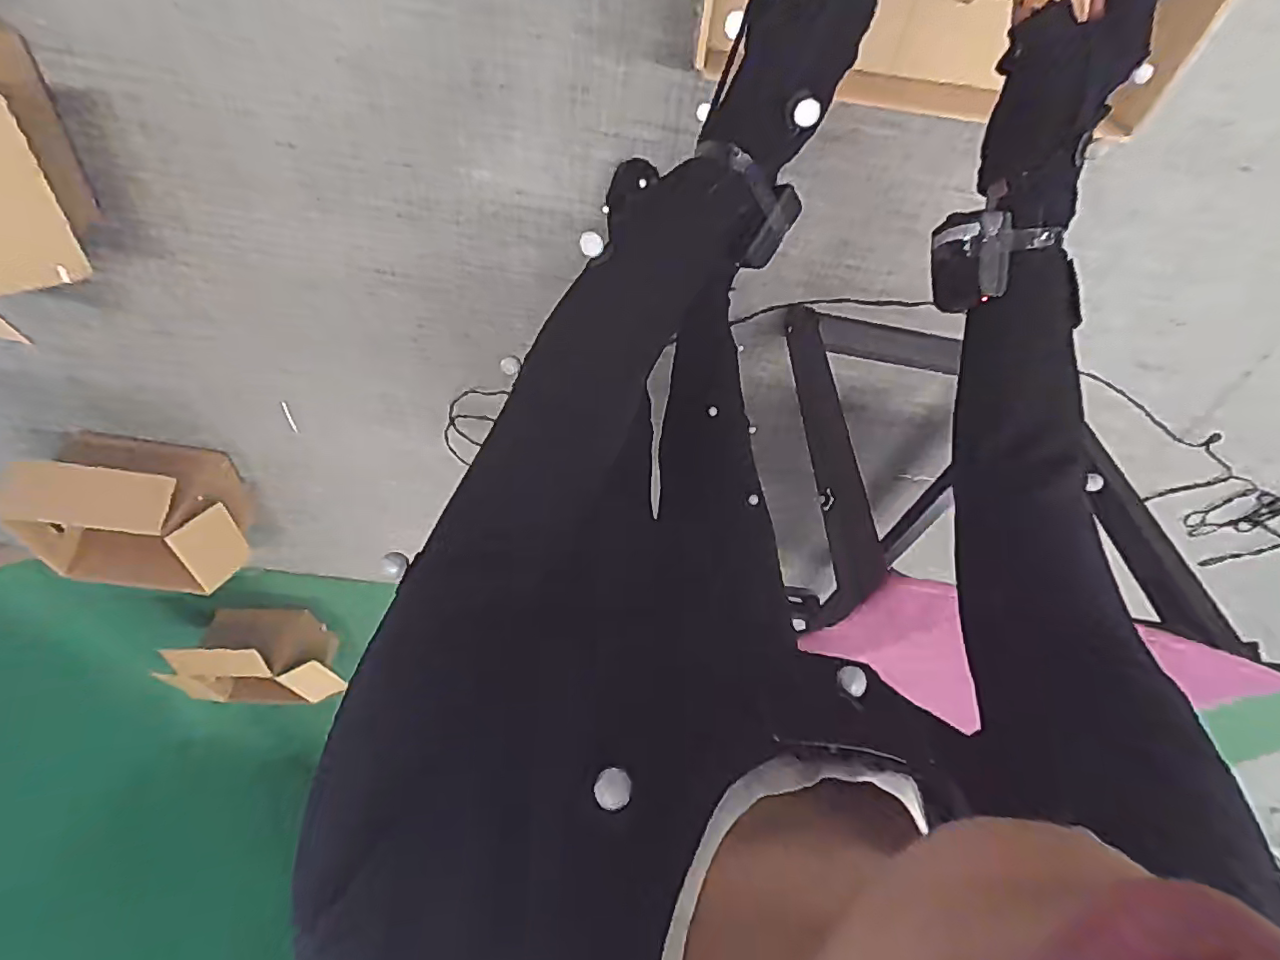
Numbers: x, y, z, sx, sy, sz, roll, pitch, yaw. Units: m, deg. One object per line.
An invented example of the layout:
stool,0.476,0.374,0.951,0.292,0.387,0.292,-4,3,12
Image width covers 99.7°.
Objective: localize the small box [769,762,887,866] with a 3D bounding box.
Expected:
small box,0.386,0.714,1.149,0.179,0.176,0.168,7,138,-4
